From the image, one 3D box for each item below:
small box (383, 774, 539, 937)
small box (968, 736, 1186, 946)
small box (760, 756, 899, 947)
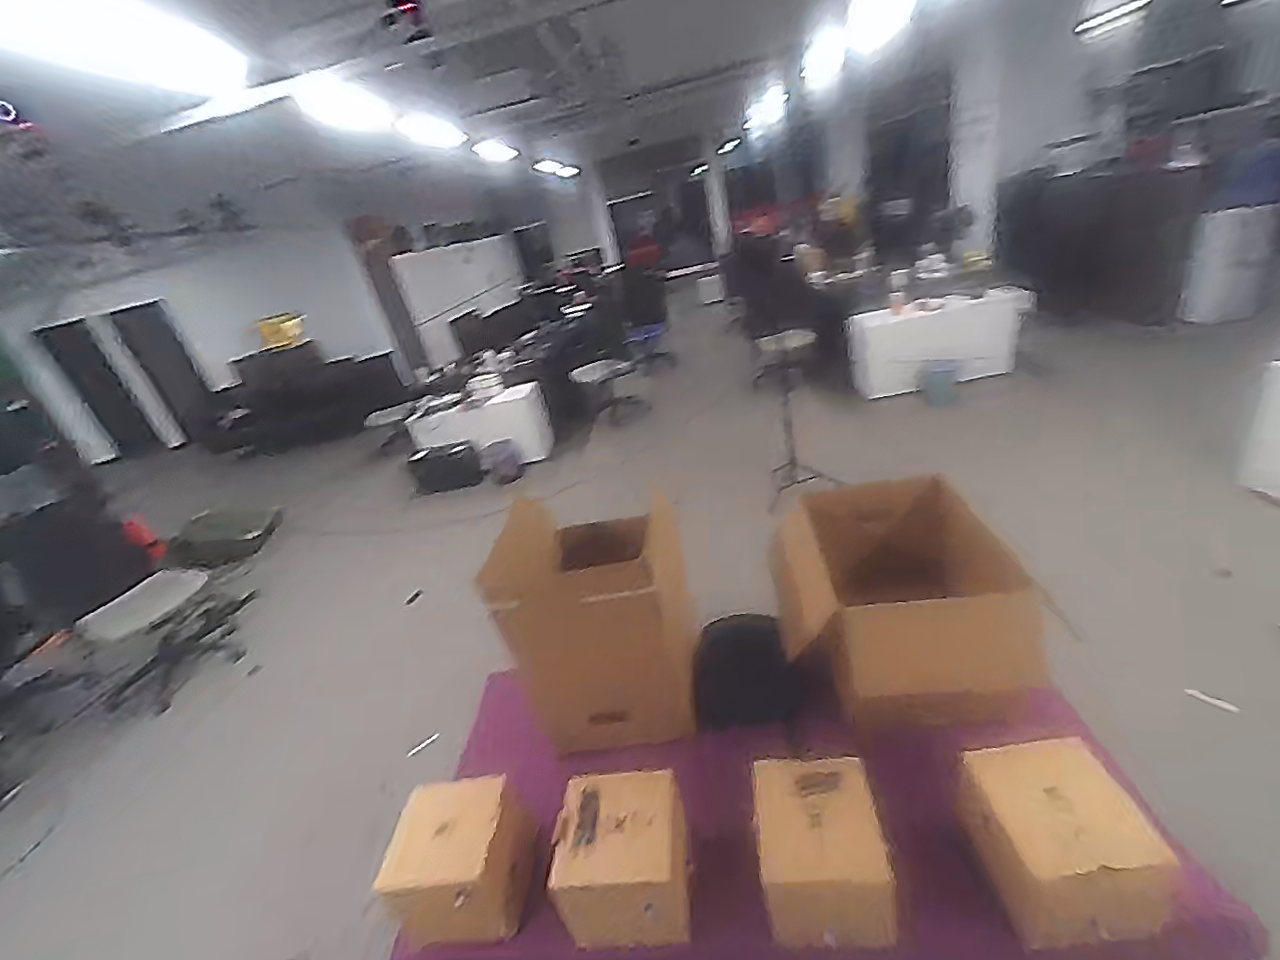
[{"bbox_3d":[-0.289,0.635,0.915,0.179,0.176,0.168,-10,26,6],"label":"small box"},{"bbox_3d":[0.578,0.494,0.748,0.168,0.176,0.179,-12,26,7],"label":"small box"},{"bbox_3d":[0.275,0.545,0.804,0.168,0.176,0.179,-9,27,12],"label":"small box"}]
